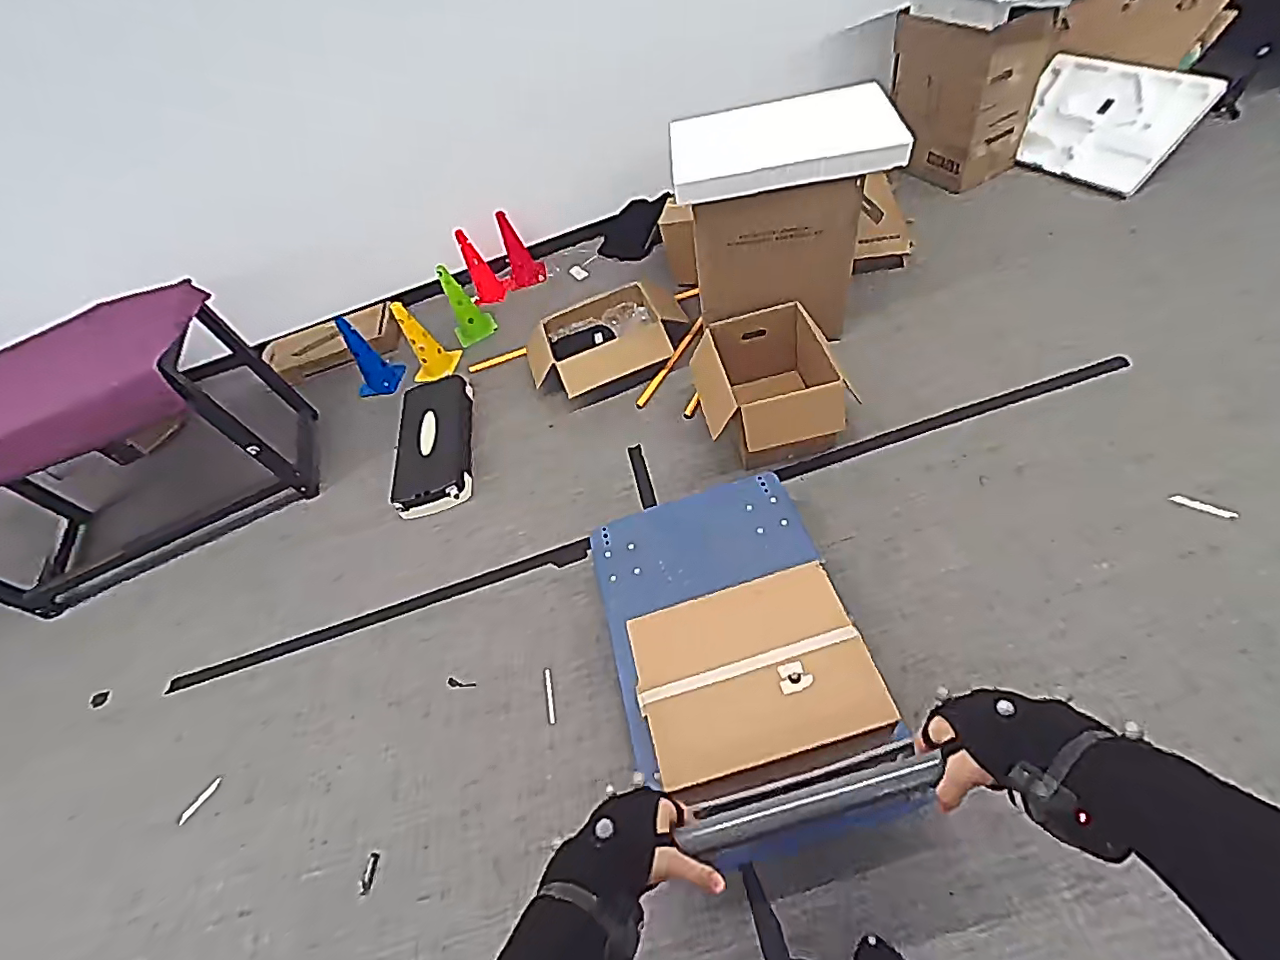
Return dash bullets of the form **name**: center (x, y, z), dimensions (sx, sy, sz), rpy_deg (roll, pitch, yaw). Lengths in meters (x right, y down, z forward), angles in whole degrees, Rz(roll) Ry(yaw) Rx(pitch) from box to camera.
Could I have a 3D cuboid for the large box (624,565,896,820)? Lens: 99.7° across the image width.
- **large box**: center (0.220, 0.430, 1.077), dimensions (0.408, 0.320, 0.320), rpy_deg (-18, 51, 1)
